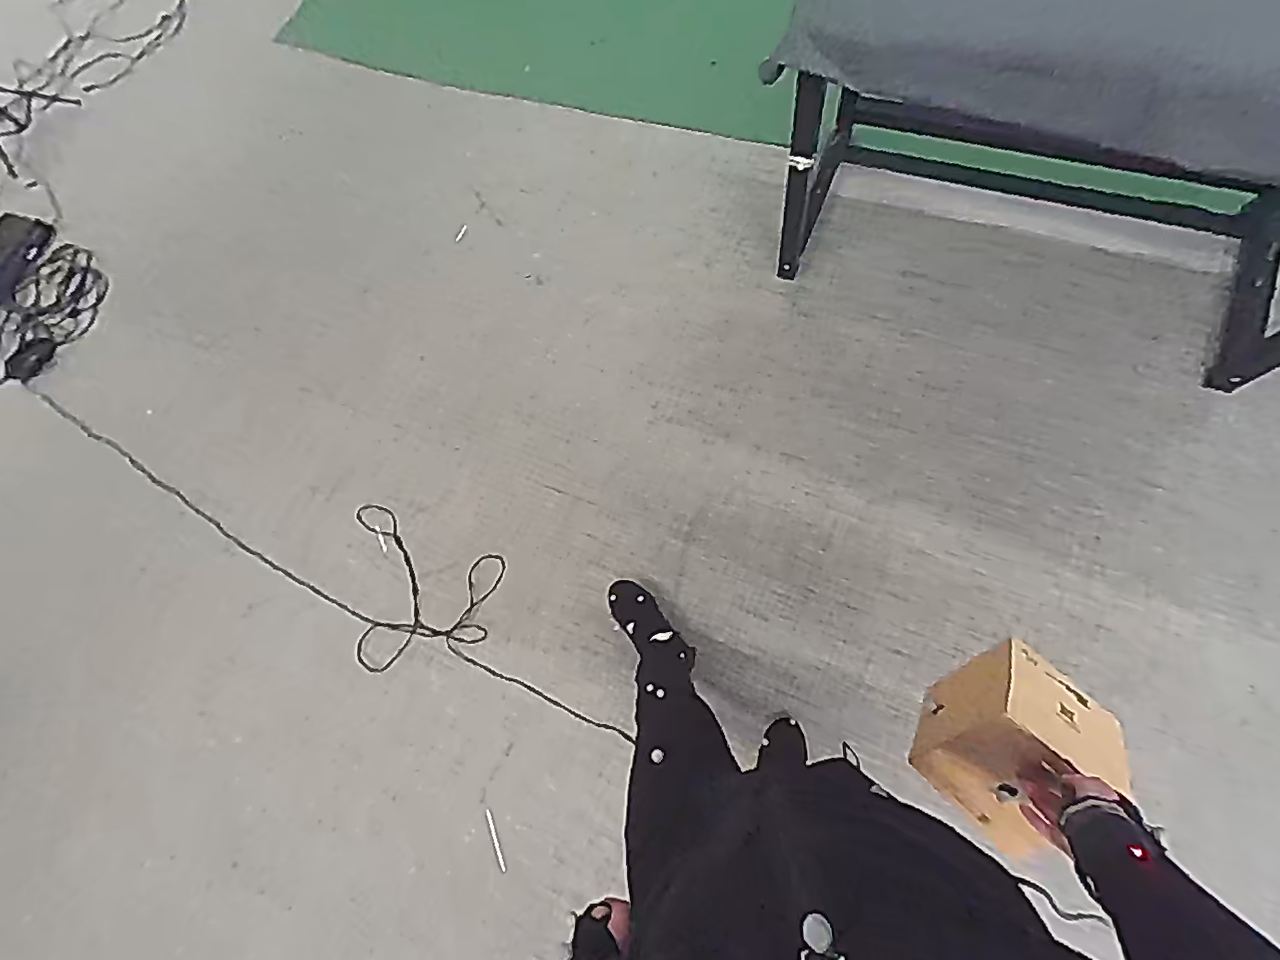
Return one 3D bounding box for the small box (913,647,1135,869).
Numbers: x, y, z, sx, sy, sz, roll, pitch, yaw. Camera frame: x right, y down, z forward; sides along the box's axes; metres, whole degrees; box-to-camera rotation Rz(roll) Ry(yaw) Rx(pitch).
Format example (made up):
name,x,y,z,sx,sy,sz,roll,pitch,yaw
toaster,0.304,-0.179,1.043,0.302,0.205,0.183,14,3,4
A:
name,x,y,z,sx,sy,sz,roll,pitch,yaw
small box,0.500,0.369,0.724,0.168,0.179,0.176,43,128,17
